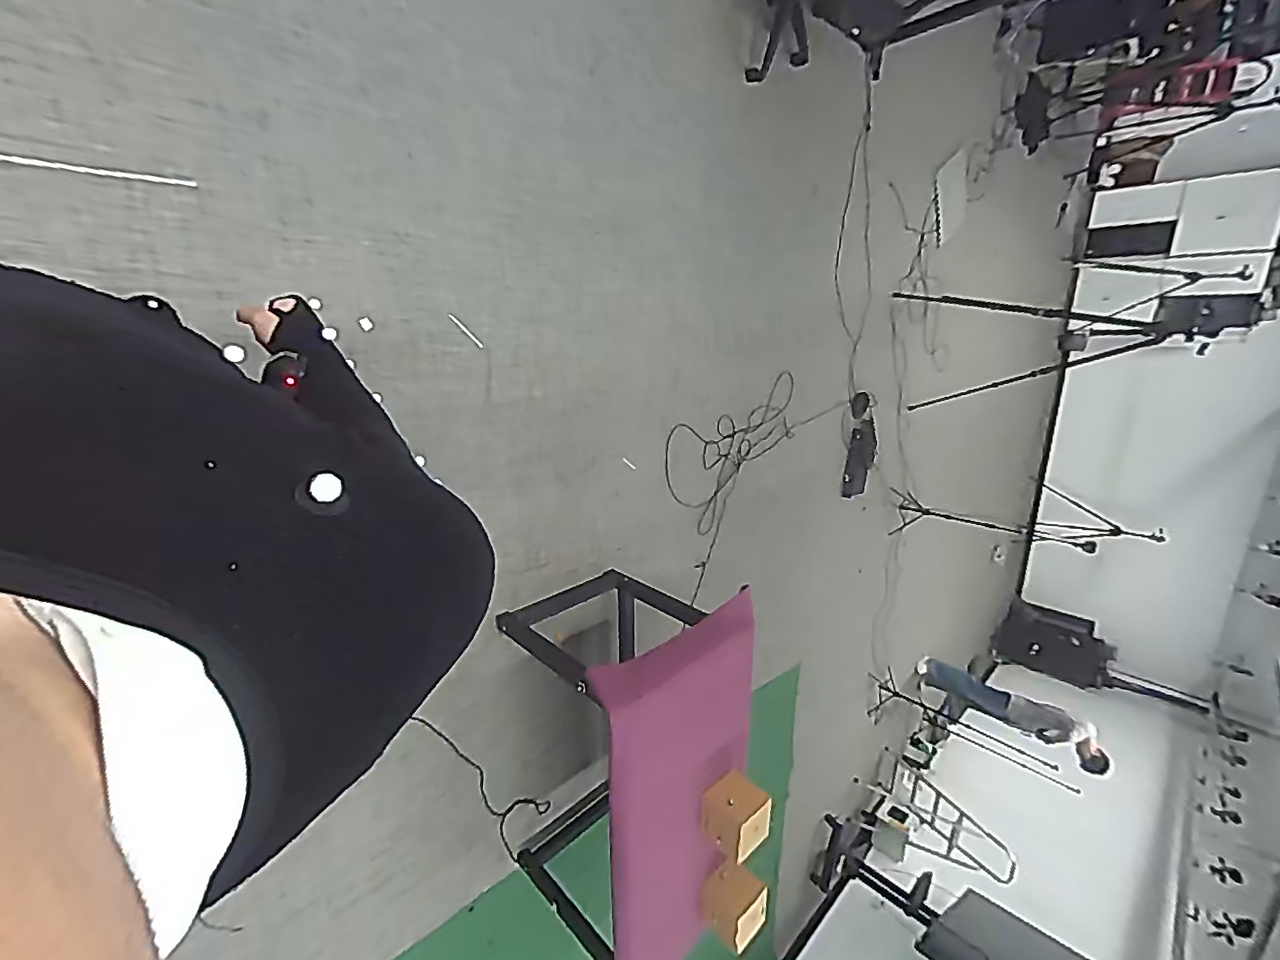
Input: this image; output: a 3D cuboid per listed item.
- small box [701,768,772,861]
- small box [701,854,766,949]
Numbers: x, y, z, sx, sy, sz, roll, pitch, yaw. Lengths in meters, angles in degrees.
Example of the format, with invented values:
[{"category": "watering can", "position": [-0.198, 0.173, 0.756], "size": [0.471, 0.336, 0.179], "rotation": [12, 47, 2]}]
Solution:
[{"category": "small box", "position": [0.328, 1.140, 1.856], "size": [0.179, 0.176, 0.168], "rotation": [-11, 110, -42]}, {"category": "small box", "position": [0.338, 1.530, 1.974], "size": [0.179, 0.176, 0.168], "rotation": [-14, 111, -40]}]
